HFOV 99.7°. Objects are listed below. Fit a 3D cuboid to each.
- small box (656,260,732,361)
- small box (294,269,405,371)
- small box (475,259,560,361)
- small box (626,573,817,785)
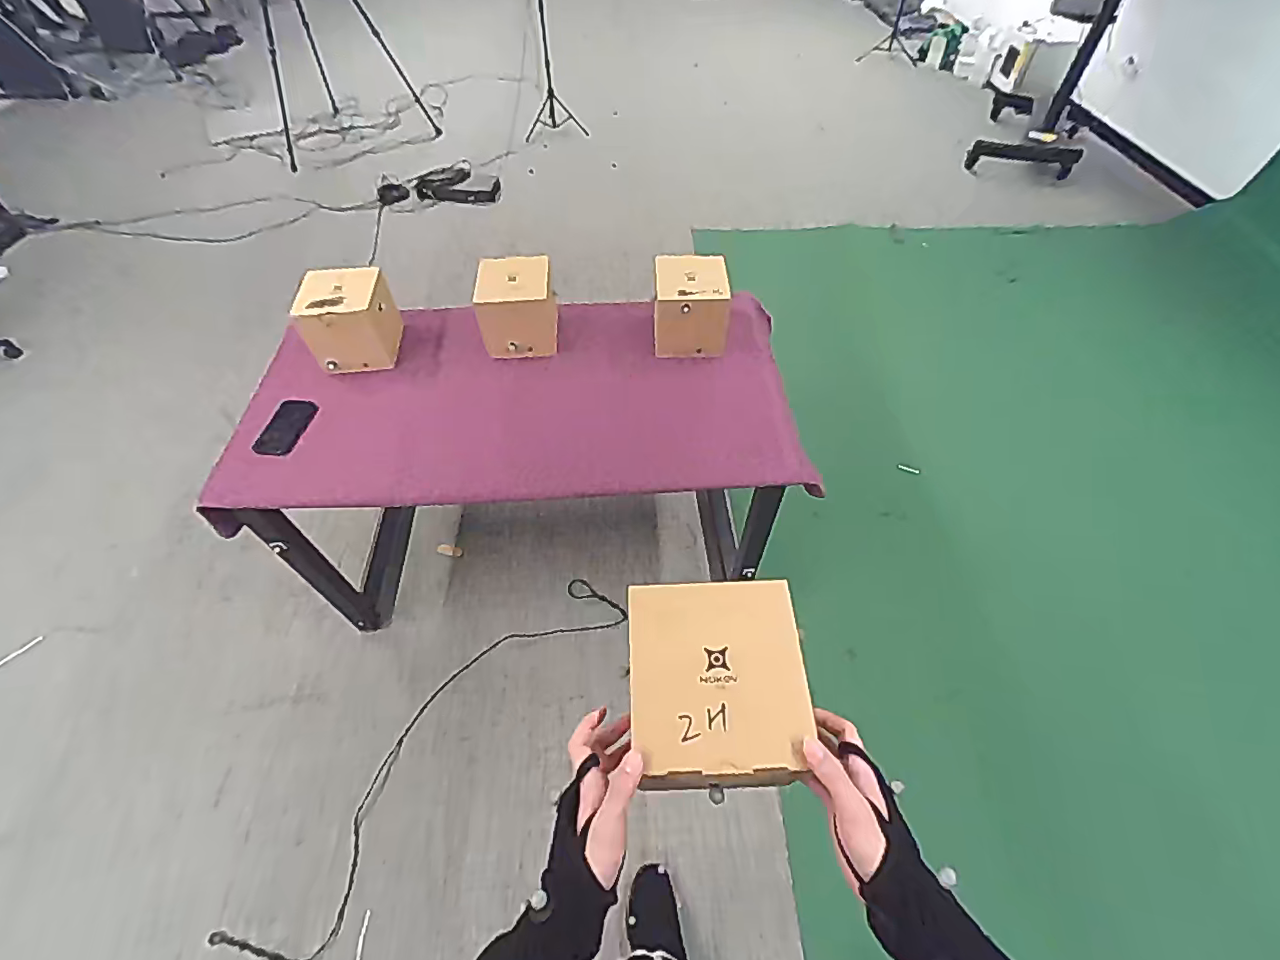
[{"bbox_3d":[0.124,-0.410,1.307,0.168,0.176,0.179,-1,52,0],"label":"small box"},{"bbox_3d":[-0.673,-0.372,1.277,0.168,0.176,0.179,-5,52,-5],"label":"small box"},{"bbox_3d":[-0.287,-0.410,1.309,0.168,0.176,0.179,-3,53,-1],"label":"small box"},{"bbox_3d":[0.071,0.214,0.573,0.168,0.176,0.179,-2,56,1],"label":"small box"}]
